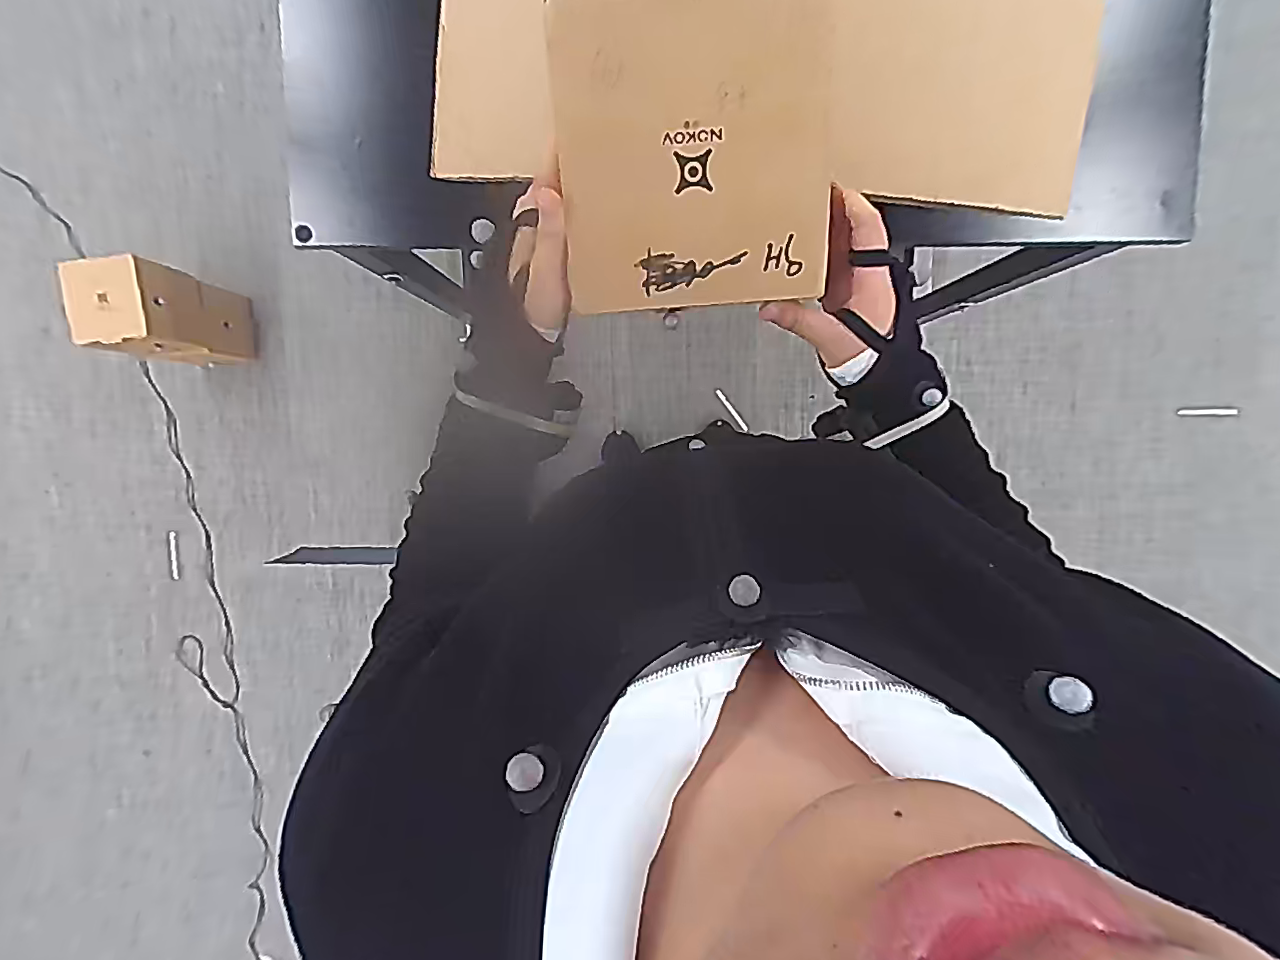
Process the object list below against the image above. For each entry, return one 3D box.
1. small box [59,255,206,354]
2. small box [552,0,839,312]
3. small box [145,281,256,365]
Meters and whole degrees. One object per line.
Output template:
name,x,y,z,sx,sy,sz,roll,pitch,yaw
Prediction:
small box,-1.139,-0.388,1.230,0.168,0.176,0.179,-7,94,1
small box,0.035,-0.221,0.402,0.168,0.176,0.179,-3,107,2
small box,-1.134,-0.398,1.392,0.168,0.176,0.179,-4,96,1
